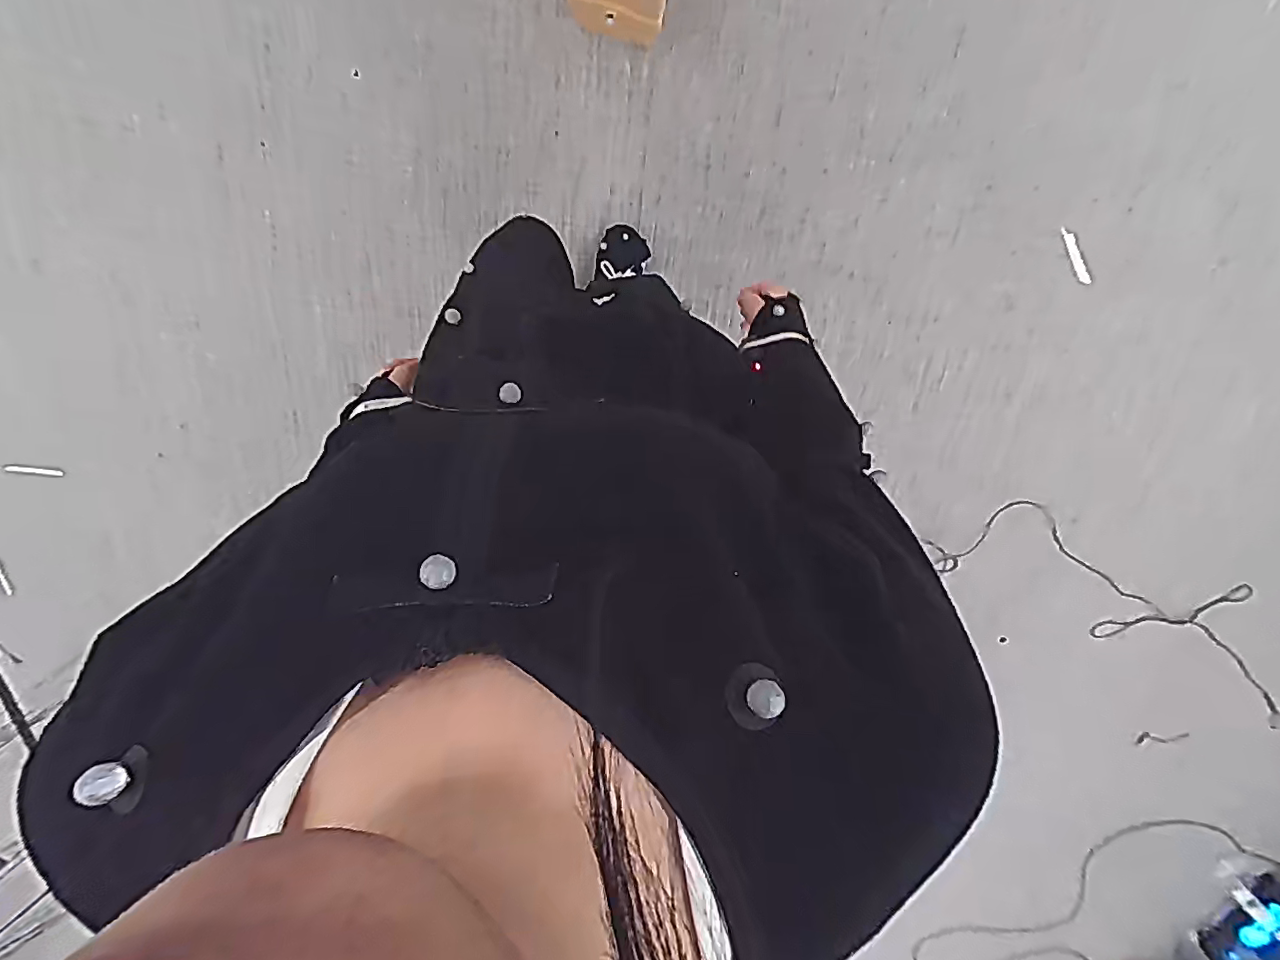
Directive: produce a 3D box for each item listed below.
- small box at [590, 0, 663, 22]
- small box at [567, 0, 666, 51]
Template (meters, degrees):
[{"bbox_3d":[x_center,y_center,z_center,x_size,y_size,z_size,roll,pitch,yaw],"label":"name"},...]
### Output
[{"bbox_3d":[-0.029,-0.897,0.884,0.179,0.176,0.168,16,115,-8],"label":"small box"},{"bbox_3d":[-0.031,-0.960,1.036,0.179,0.176,0.168,12,115,-6],"label":"small box"}]
